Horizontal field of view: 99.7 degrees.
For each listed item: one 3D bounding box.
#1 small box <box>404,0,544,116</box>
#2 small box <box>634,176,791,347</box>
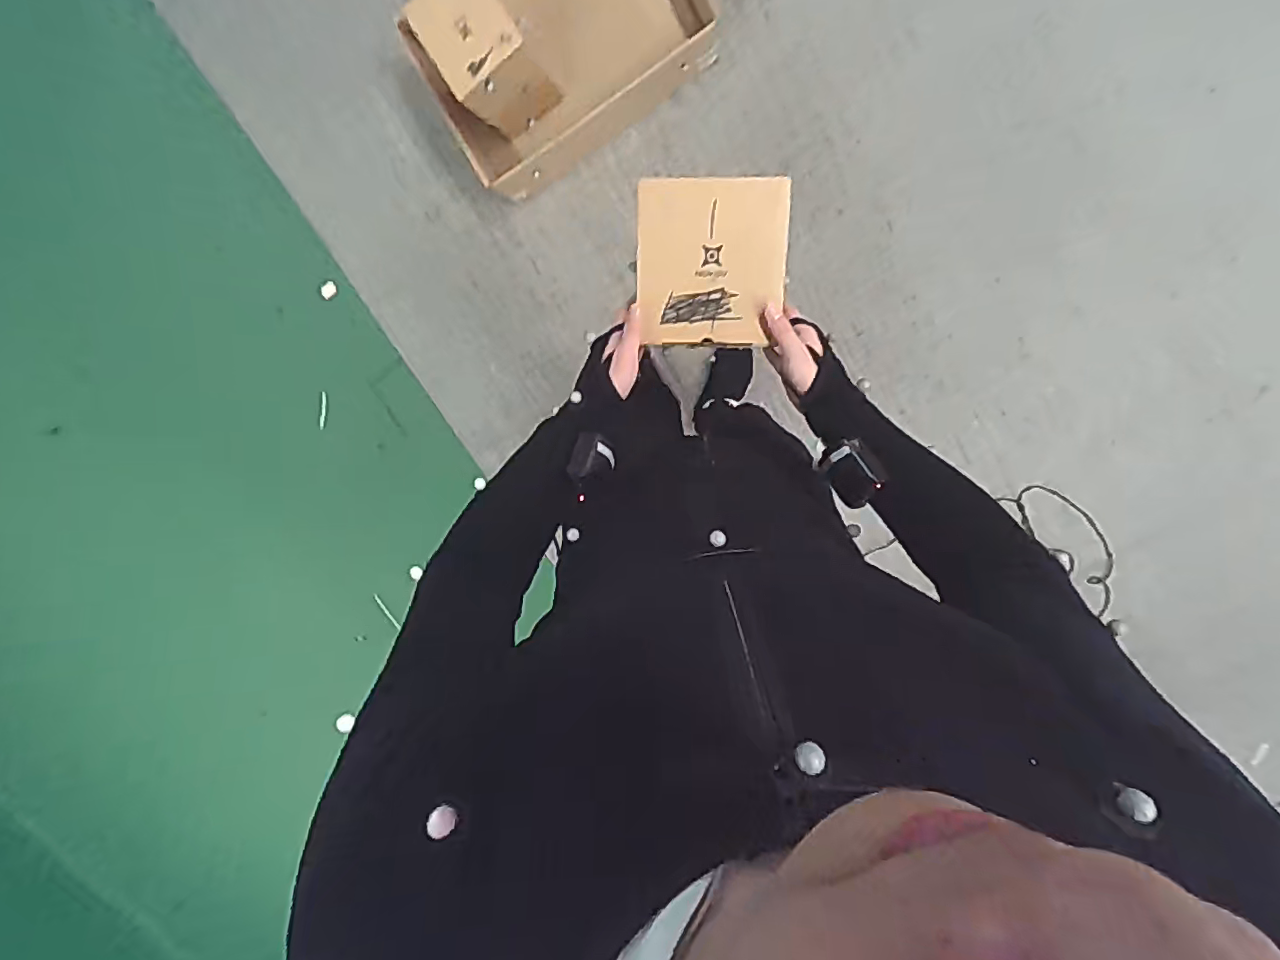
[{"bbox_3d":[-0.320,-0.876,1.077,0.168,0.176,0.179,-30,103,17],"label":"small box"},{"bbox_3d":[0.083,-0.258,0.673,0.168,0.176,0.179,2,103,3],"label":"small box"}]
